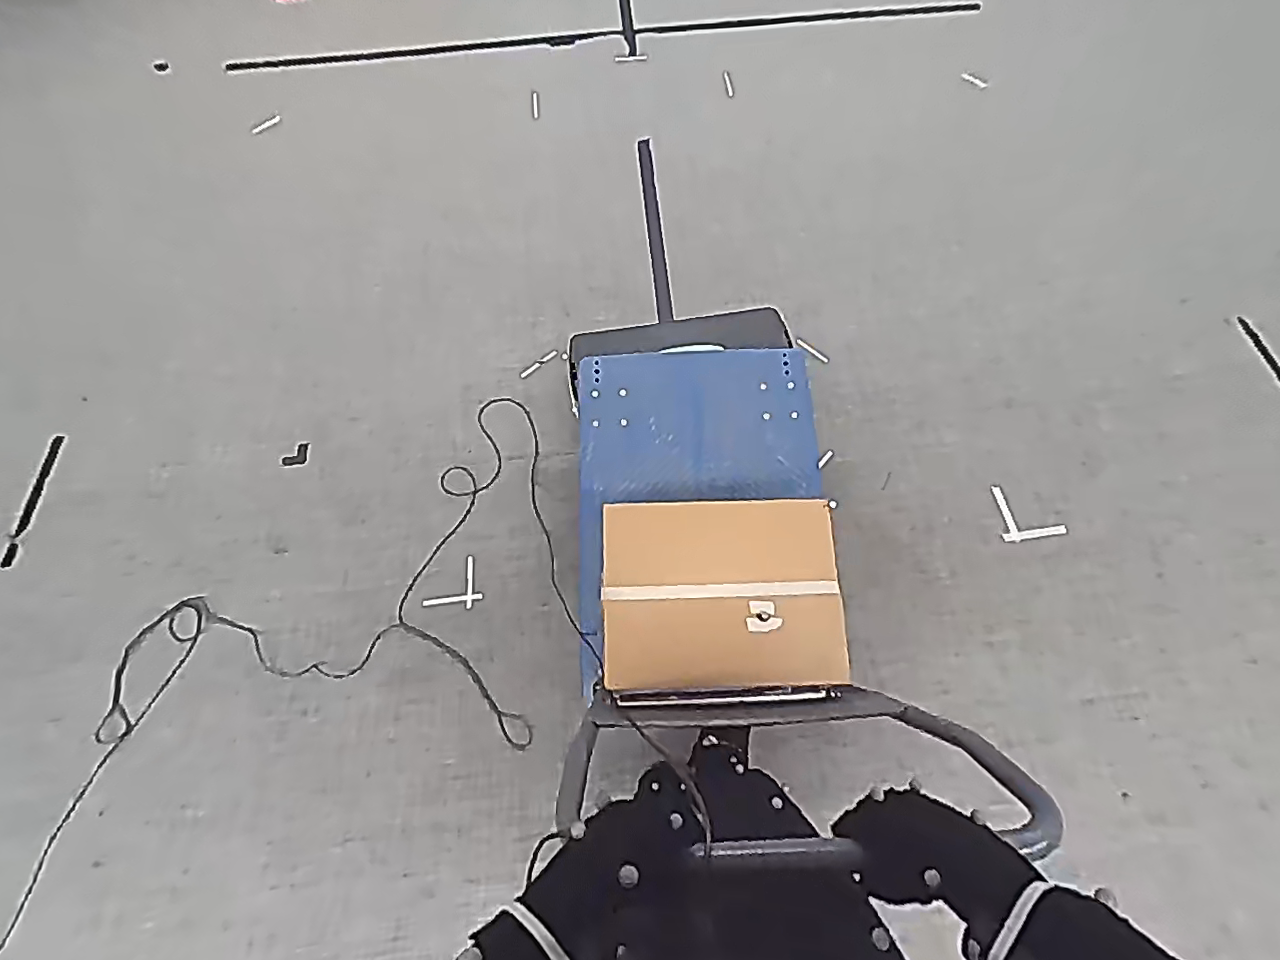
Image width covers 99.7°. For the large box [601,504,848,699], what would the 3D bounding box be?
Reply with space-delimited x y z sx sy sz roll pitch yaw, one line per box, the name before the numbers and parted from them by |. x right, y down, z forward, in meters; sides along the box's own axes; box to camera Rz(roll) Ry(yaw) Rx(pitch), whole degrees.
large box | 0.133 0.240 1.060 0.408 0.320 0.320 -2 74 -1
